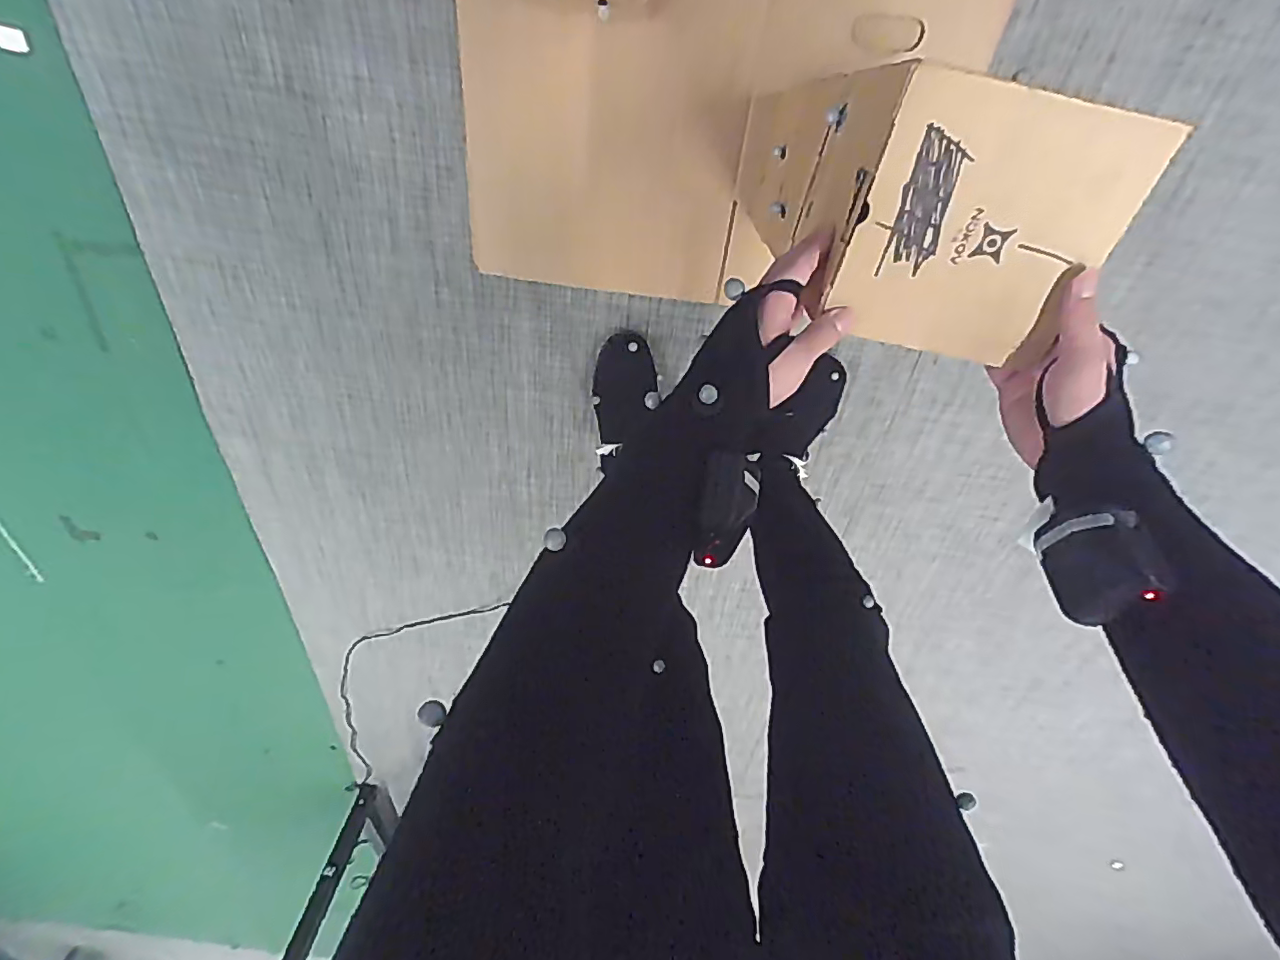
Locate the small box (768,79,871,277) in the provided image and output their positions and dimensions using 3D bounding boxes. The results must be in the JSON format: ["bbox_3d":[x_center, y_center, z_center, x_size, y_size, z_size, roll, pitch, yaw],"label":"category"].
[{"bbox_3d":[0.247,-0.298,0.567,0.179,0.176,0.168,11,125,-3],"label":"small box"}]

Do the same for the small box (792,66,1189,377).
[{"bbox_3d":[0.237,-0.205,0.431,0.179,0.176,0.168,11,125,-3],"label":"small box"}]

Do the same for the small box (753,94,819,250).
[{"bbox_3d":[0.259,-0.389,0.703,0.179,0.176,0.168,9,125,-2],"label":"small box"}]
